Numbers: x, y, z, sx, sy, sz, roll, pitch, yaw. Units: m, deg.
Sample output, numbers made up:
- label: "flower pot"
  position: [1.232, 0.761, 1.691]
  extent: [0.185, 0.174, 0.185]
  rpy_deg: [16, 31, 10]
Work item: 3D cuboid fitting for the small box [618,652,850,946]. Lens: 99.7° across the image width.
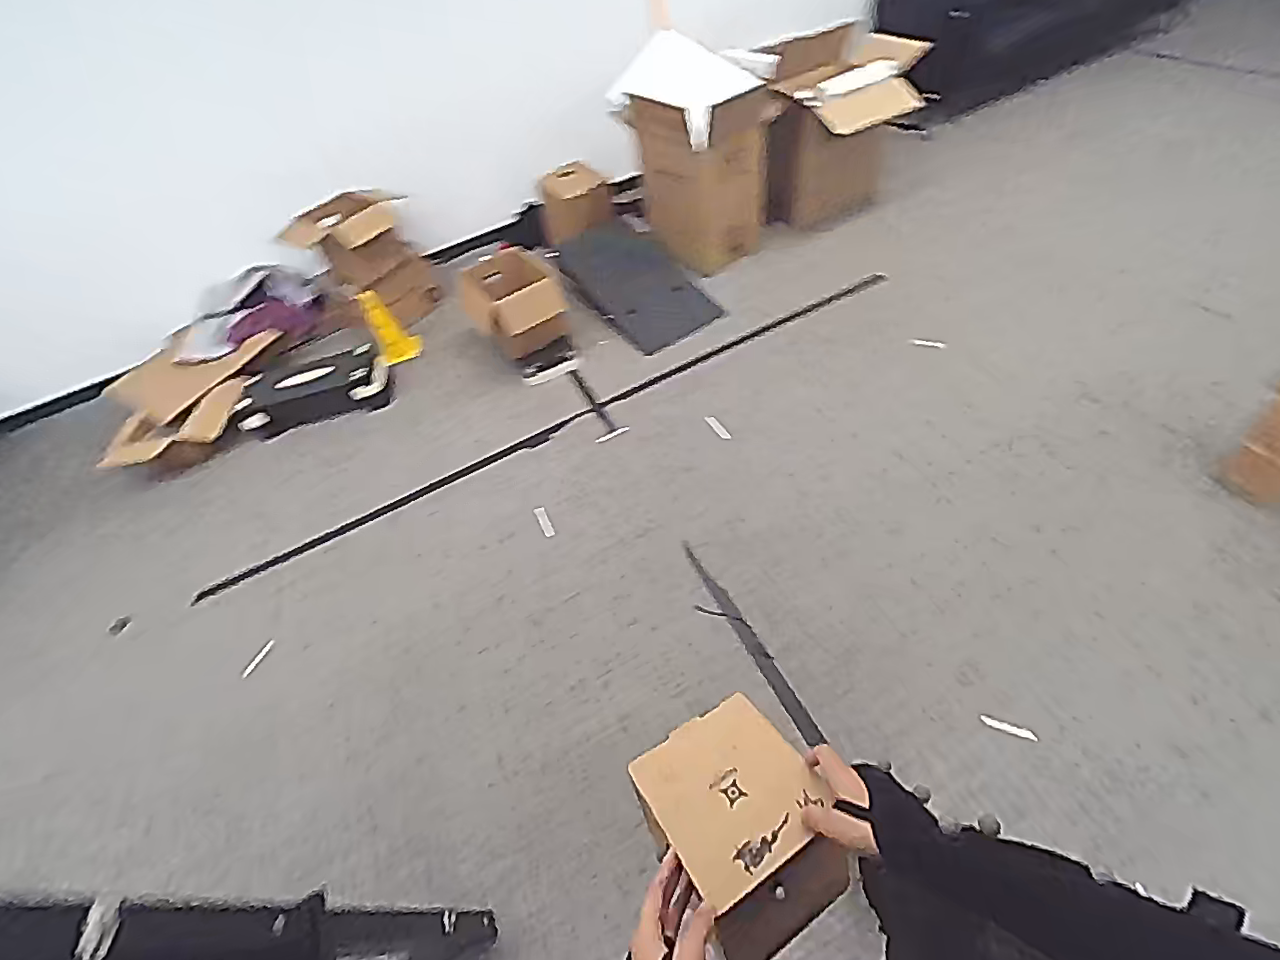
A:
- label: "small box"
  position: [0.099, 0.330, 0.577]
  extent: [0.168, 0.176, 0.179]
  rpy_deg: [-25, 33, -19]
